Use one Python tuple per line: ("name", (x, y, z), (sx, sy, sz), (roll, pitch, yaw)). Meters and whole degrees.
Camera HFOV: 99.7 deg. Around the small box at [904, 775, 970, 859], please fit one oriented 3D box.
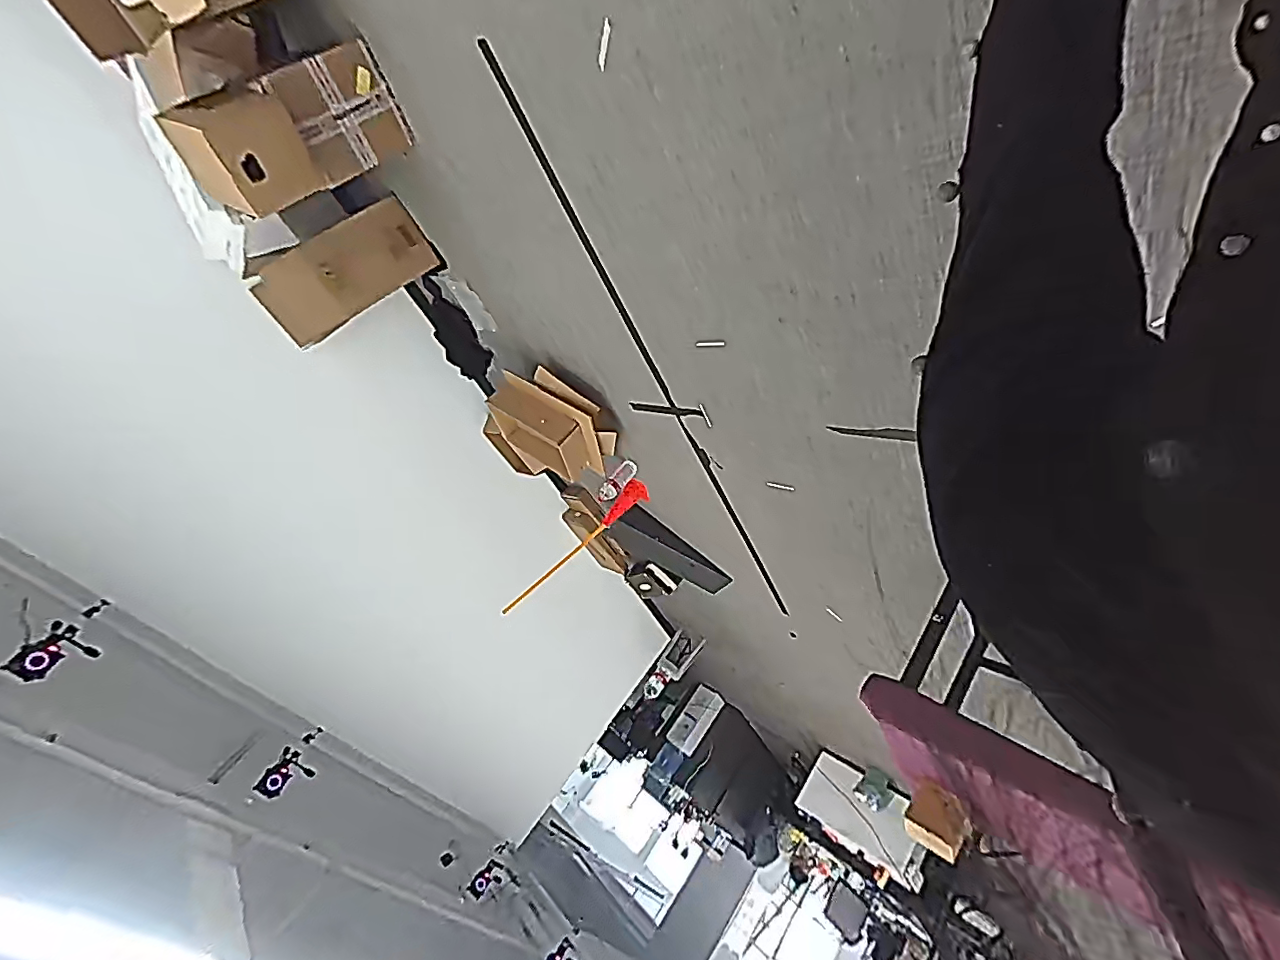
("small box", (1.084, 1.225, 1.971), (0.168, 0.176, 0.179), (17, 143, 43))
